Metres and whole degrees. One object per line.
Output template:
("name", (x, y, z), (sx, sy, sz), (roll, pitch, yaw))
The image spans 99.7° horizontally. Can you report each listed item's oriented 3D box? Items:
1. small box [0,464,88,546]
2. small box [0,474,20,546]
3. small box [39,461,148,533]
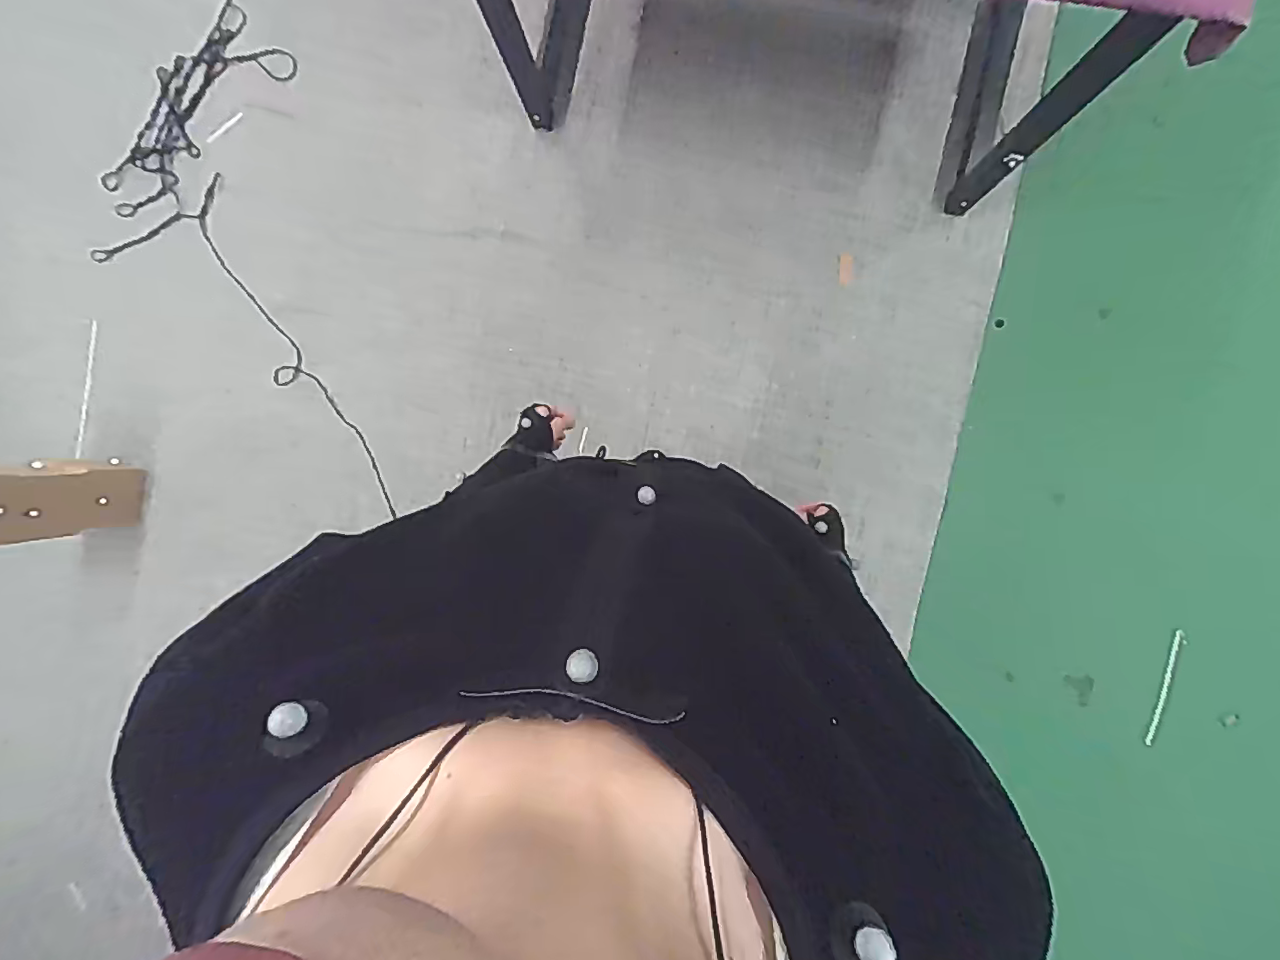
("small box", (-1.596, 0.059, 1.399), (0.168, 0.176, 0.179), (11, 93, 3))
("small box", (-1.593, 0.063, 1.235), (0.168, 0.176, 0.179), (9, 92, 4))
("small box", (-1.580, 0.044, 1.562), (0.168, 0.176, 0.179), (11, 92, 4))
